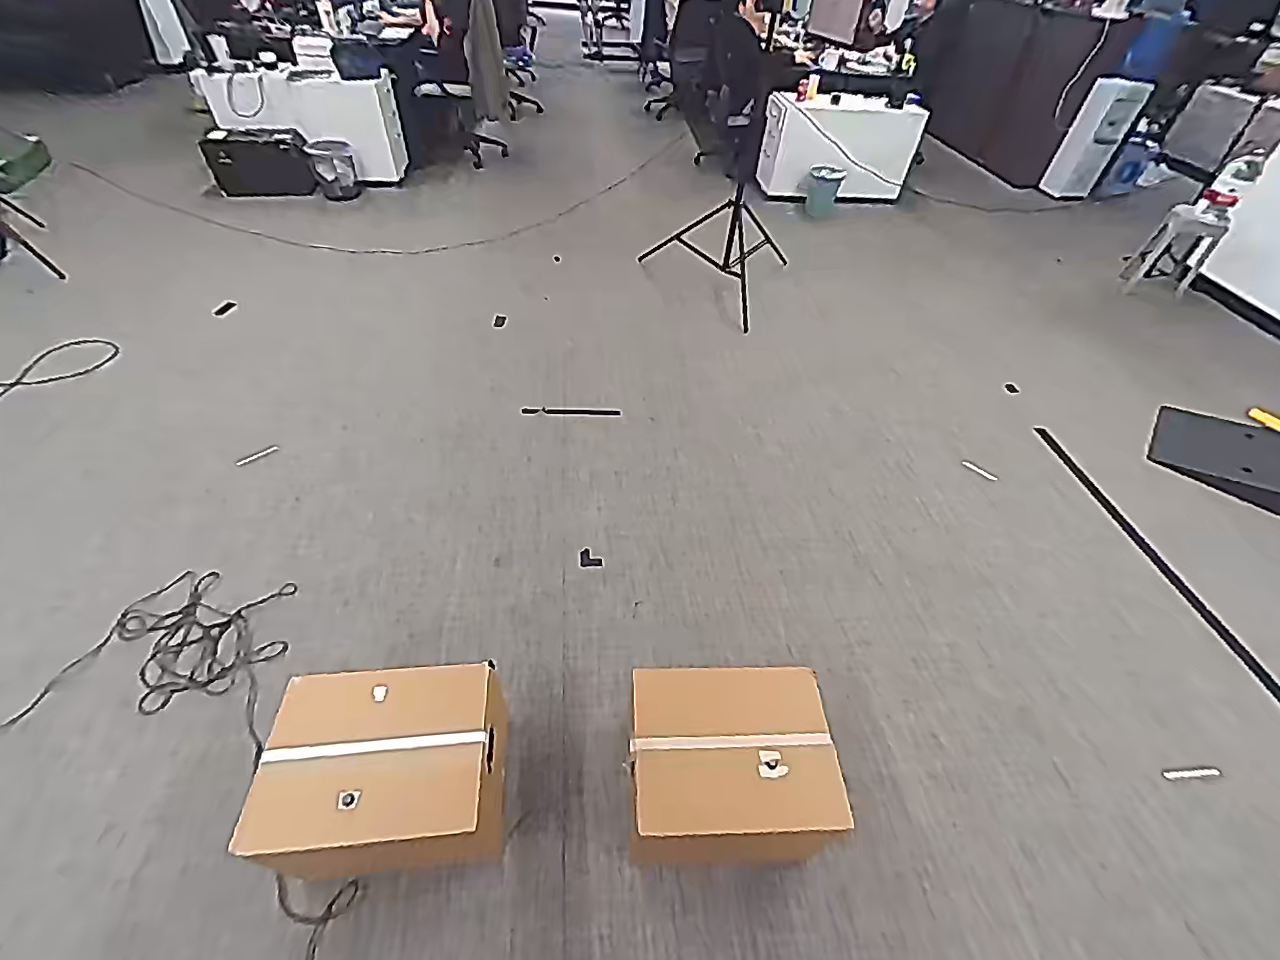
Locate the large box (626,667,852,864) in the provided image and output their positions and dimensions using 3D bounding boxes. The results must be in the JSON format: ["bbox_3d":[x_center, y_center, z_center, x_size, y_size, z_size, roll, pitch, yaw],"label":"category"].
[{"bbox_3d":[0.182,0.632,1.200,0.408,0.320,0.320,1,47,-5],"label":"large box"}]
